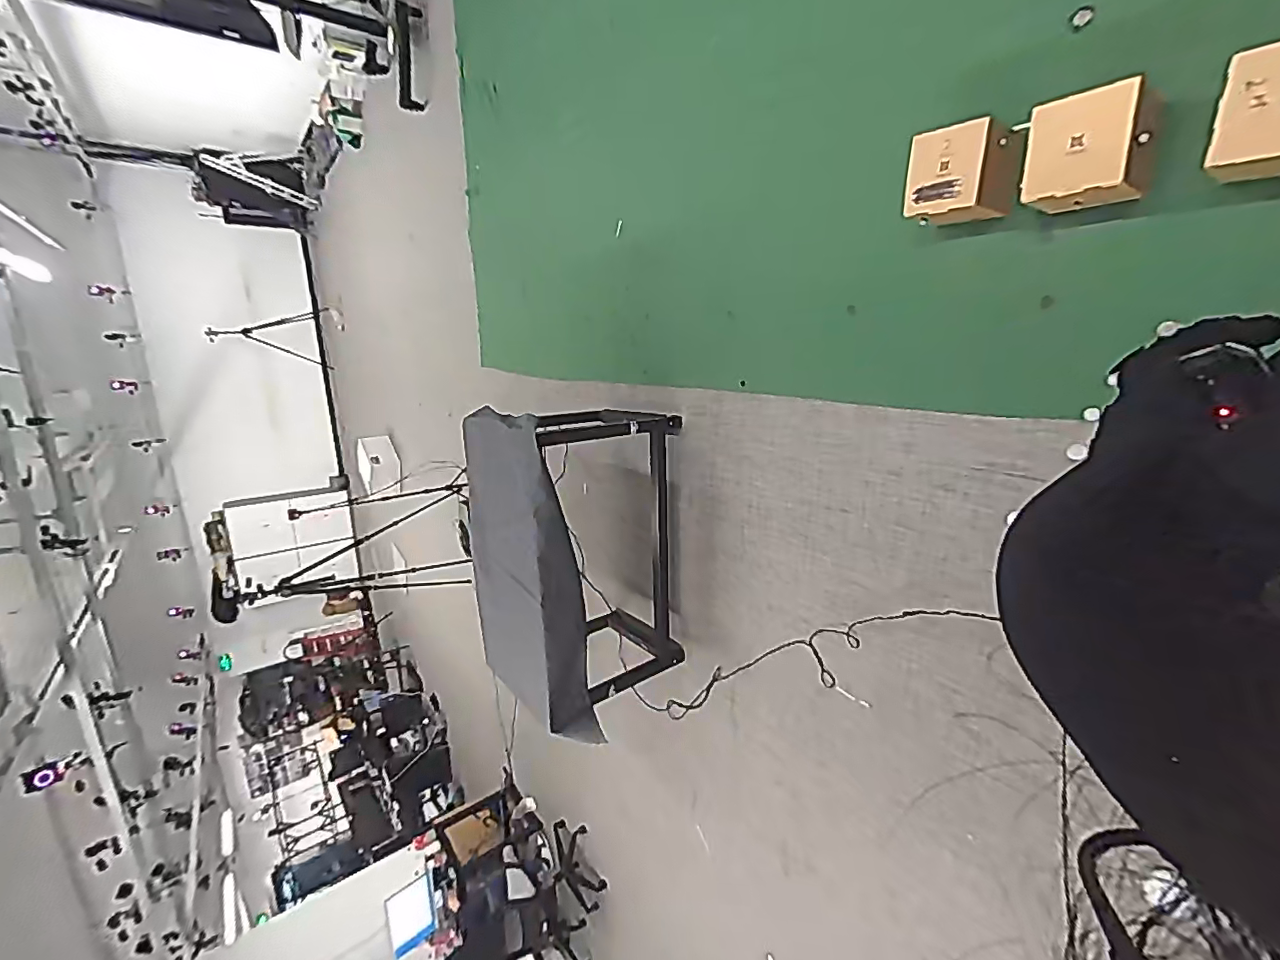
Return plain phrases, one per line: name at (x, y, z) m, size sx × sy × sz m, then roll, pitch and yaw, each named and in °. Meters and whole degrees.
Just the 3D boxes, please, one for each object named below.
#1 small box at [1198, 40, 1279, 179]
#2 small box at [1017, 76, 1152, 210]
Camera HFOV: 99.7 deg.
small box at (1.062, -0.604, 0.877) m, size 0.179 × 0.176 × 0.168 m, roll 19°, pitch 114°, yaw 49°
small box at (0.894, -0.662, 1.087) m, size 0.168 × 0.176 × 0.179 m, roll 16°, pitch 113°, yaw 50°
